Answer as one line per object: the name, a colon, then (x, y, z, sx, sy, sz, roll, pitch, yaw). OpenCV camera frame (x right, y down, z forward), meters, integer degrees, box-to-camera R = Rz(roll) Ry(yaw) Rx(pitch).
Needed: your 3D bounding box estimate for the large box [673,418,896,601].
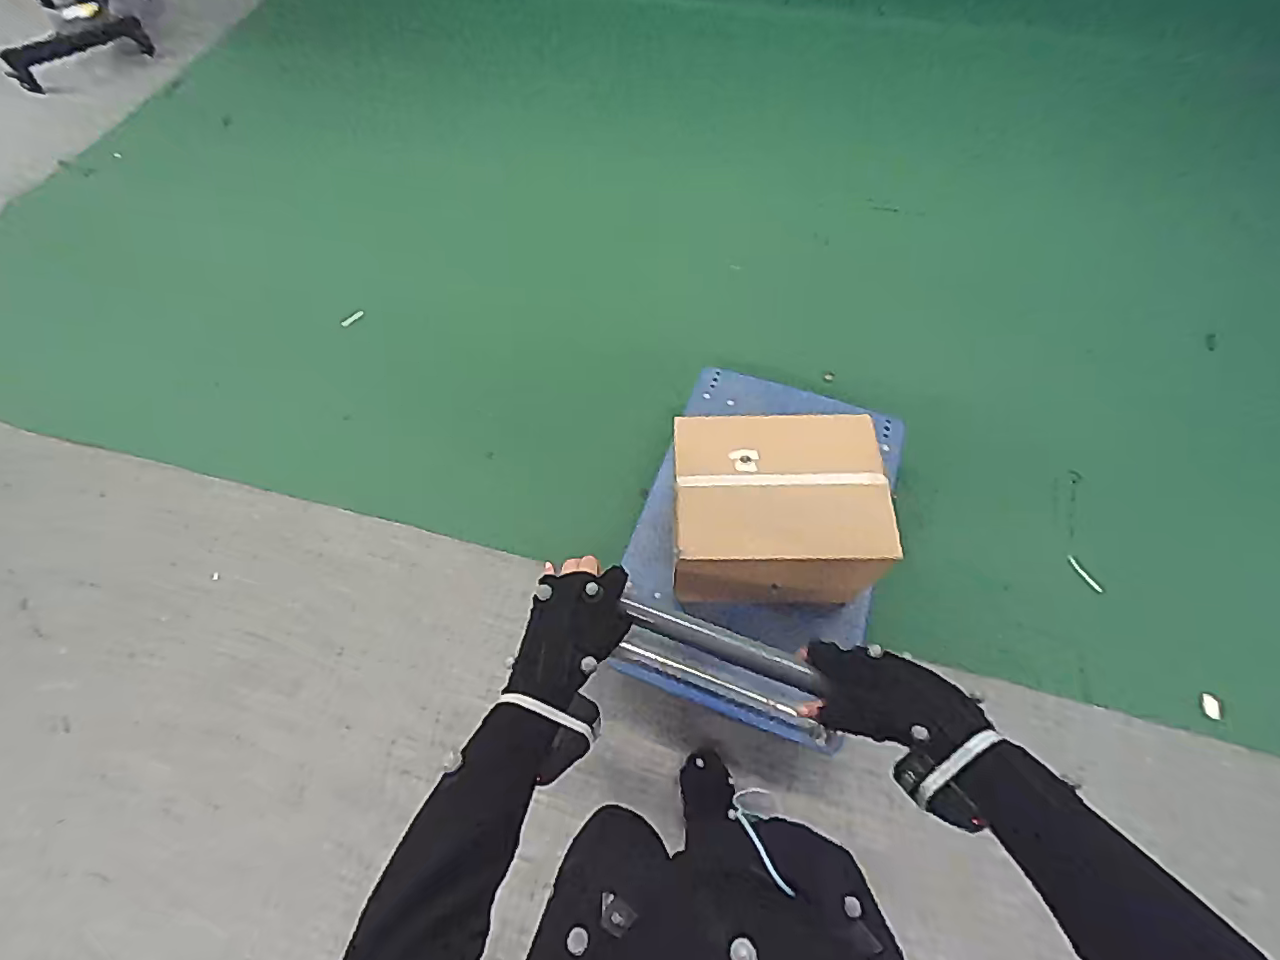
large box: (0.276, 0.079, 1.181, 0.408, 0.320, 0.320, 0, 62, 3)
